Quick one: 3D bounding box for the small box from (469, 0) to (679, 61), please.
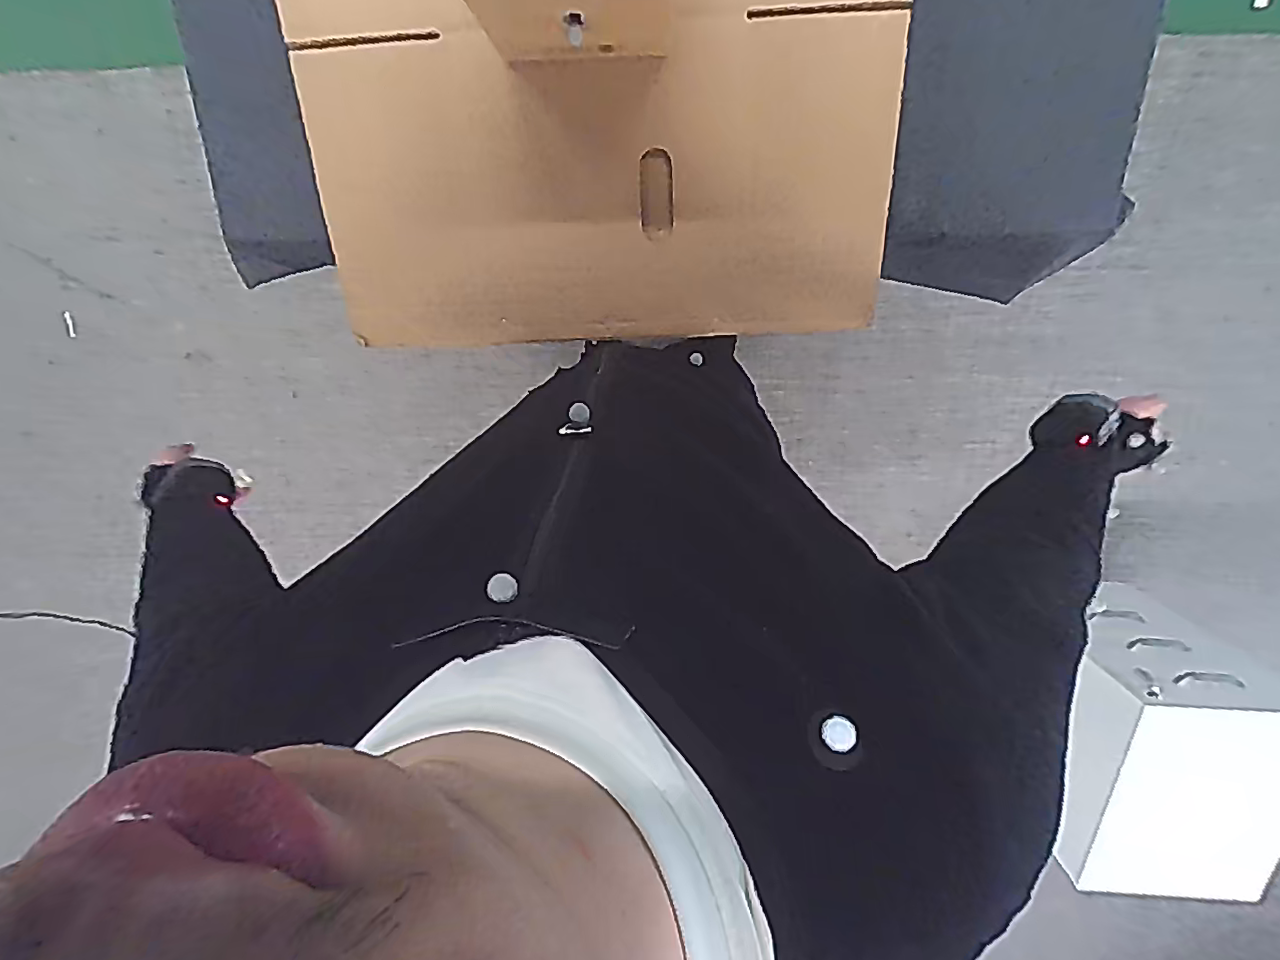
[{"bbox_3d":[-0.053,-0.470,0.433,0.168,0.176,0.179,-3,108,4],"label":"small box"}]
